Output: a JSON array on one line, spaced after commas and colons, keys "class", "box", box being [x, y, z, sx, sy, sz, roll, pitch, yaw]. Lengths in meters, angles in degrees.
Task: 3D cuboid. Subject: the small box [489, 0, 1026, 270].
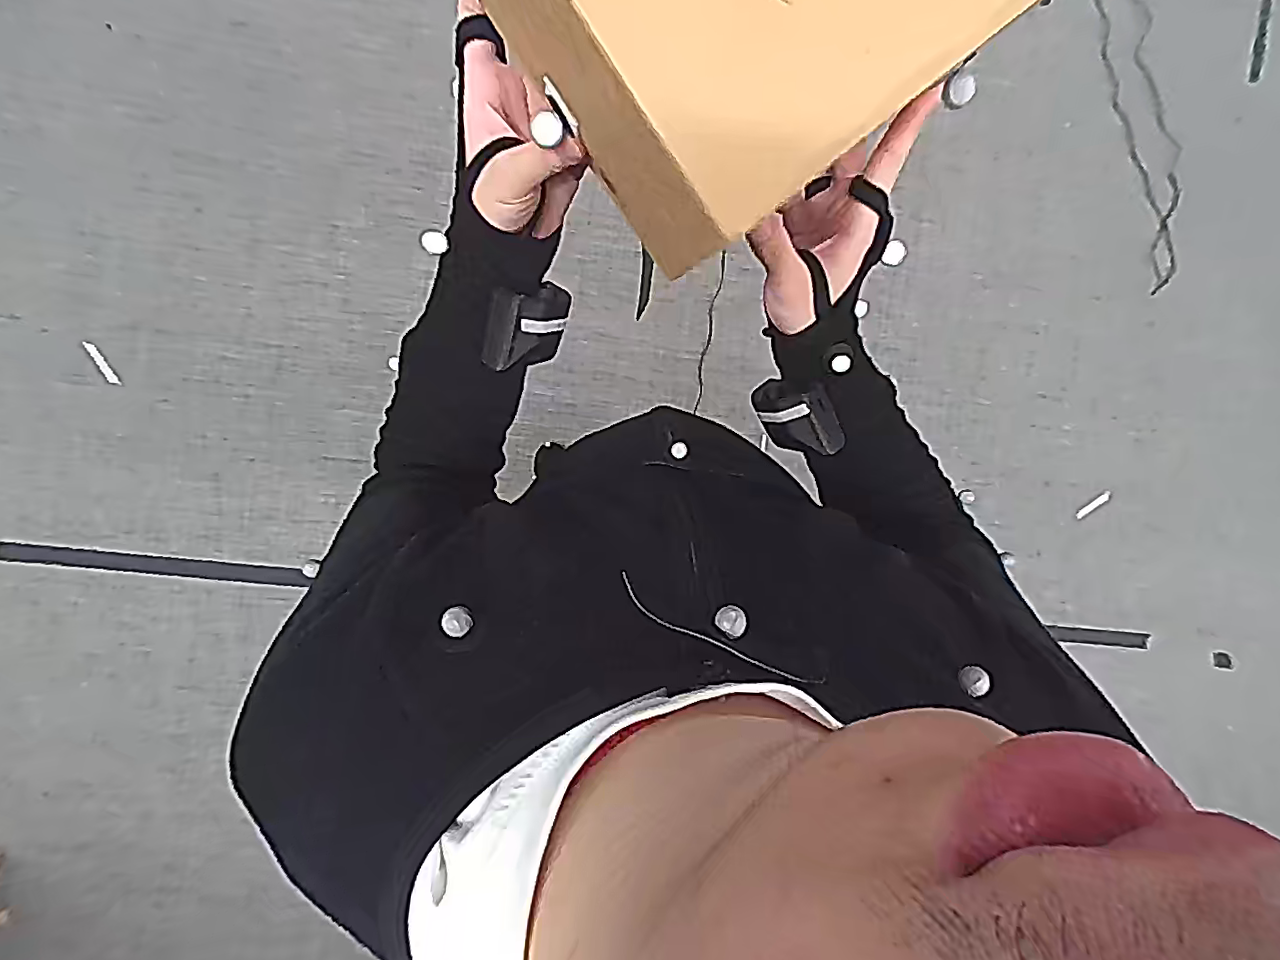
[{"class": "small box", "box": [0.041, -0.213, 0.224, 0.179, 0.176, 0.168, -39, 104, 9]}]
